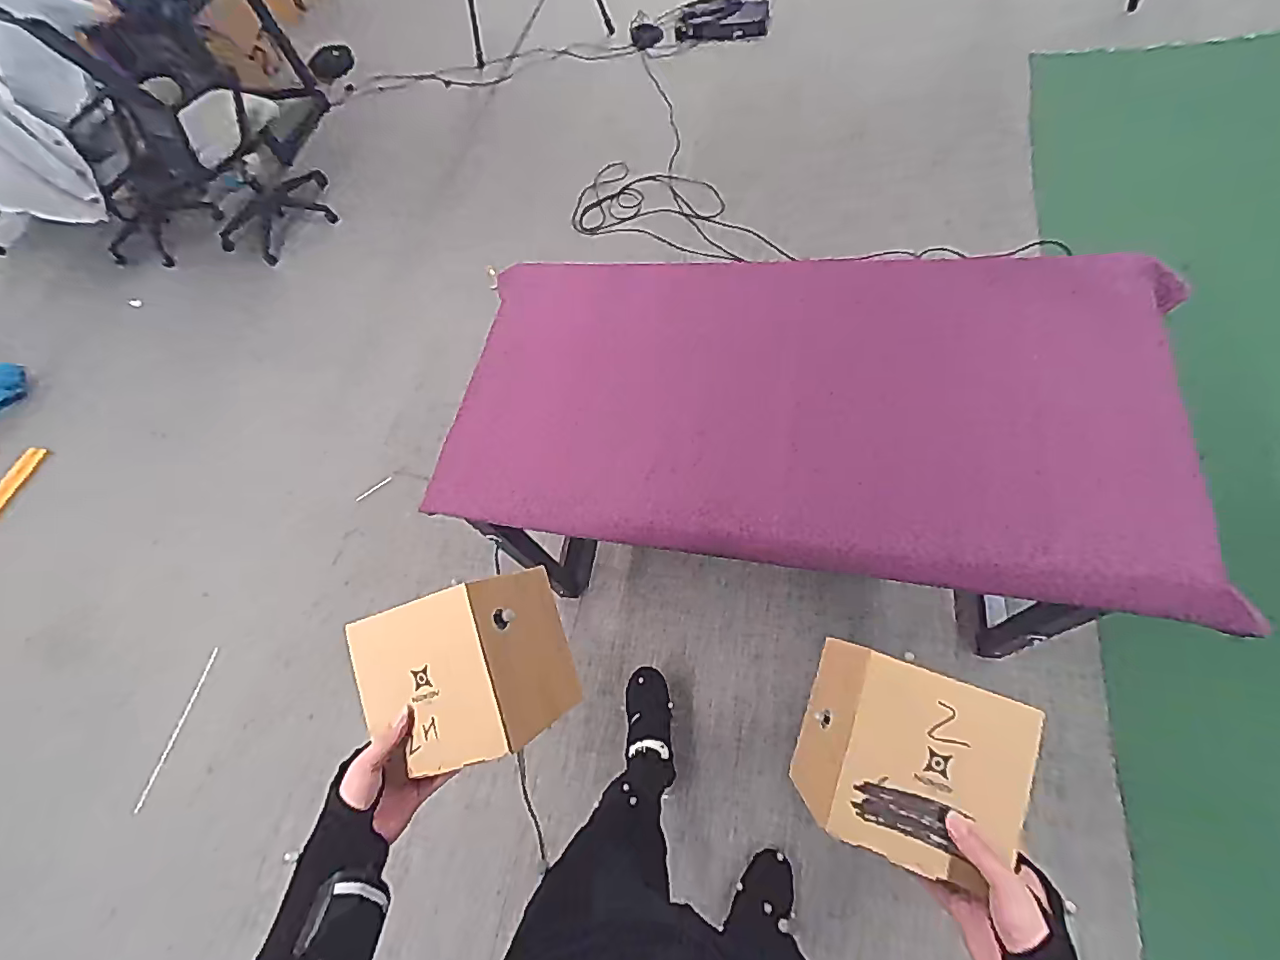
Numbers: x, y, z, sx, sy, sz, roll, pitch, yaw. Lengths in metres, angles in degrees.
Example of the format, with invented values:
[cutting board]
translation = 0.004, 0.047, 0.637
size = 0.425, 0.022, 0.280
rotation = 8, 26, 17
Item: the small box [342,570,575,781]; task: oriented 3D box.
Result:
[small box]
translation = -0.198, 0.208, 0.621
size = 0.168, 0.176, 0.179
rotation = -20, 81, 17
